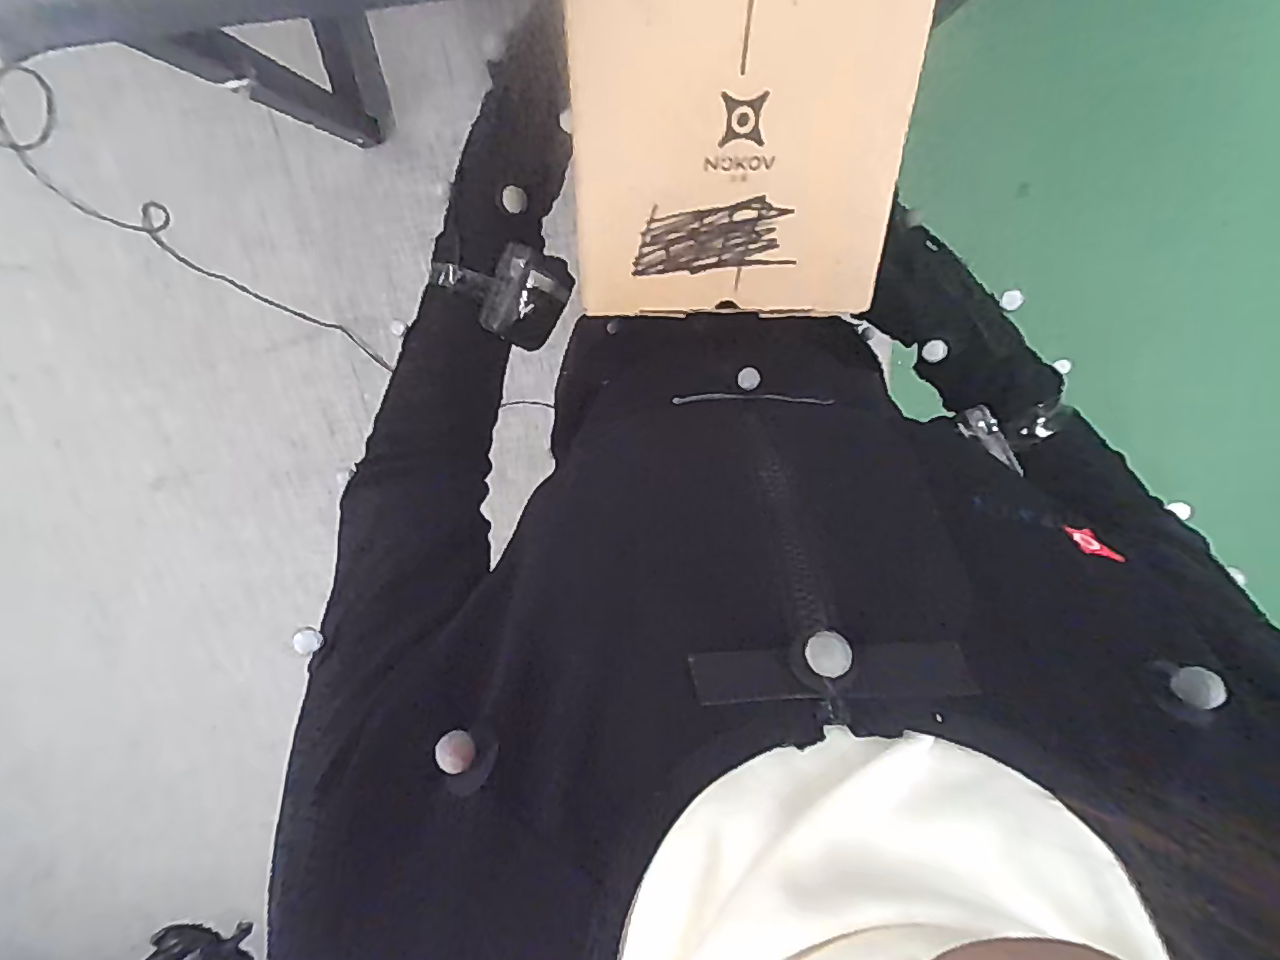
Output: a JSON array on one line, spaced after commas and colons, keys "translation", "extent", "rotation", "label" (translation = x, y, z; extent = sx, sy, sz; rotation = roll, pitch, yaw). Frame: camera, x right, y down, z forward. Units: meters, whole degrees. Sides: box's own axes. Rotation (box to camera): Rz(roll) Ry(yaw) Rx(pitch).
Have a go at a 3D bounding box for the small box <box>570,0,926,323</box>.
[{"translation": [0.049, -0.213, 0.348], "extent": [0.168, 0.176, 0.179], "rotation": [1, 122, 0], "label": "small box"}]
